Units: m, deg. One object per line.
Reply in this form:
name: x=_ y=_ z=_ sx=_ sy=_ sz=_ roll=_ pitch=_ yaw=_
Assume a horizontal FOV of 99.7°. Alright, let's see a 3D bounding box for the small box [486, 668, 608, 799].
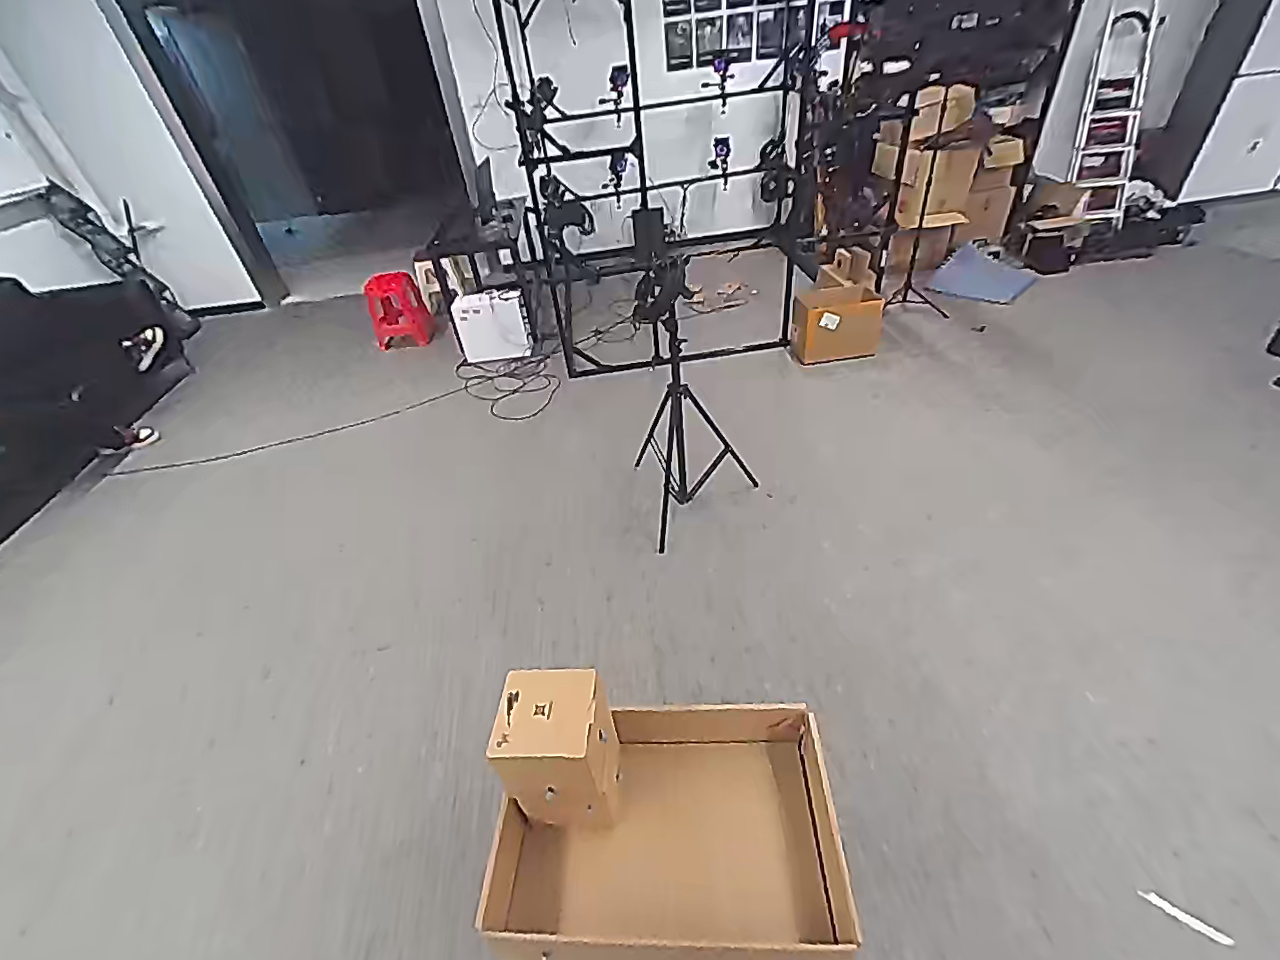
small box: x=-0.158 y=0.469 z=1.002 sx=0.179 sy=0.176 sz=0.168 roll=-2 pitch=38 yaw=6
